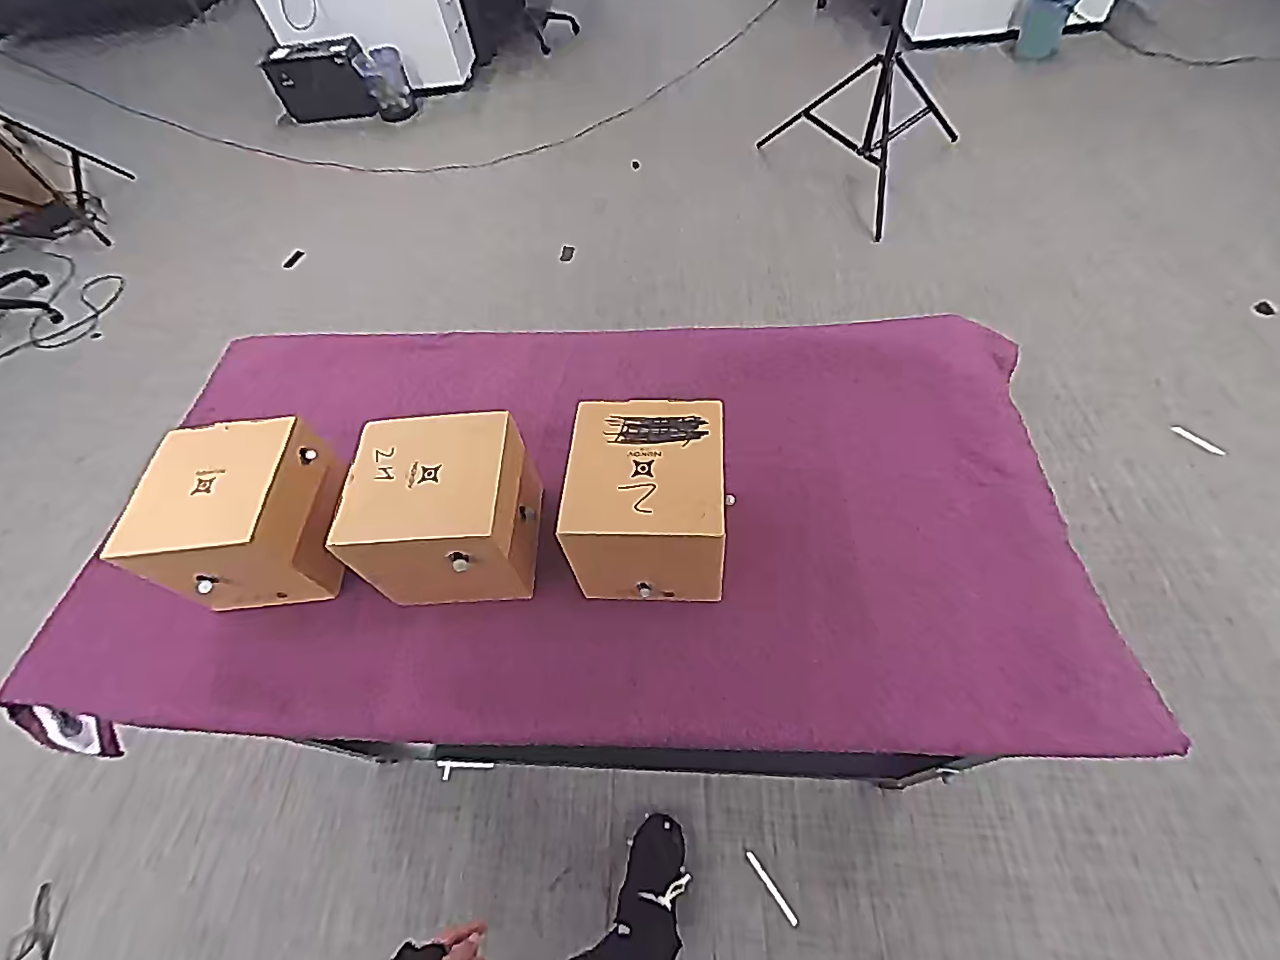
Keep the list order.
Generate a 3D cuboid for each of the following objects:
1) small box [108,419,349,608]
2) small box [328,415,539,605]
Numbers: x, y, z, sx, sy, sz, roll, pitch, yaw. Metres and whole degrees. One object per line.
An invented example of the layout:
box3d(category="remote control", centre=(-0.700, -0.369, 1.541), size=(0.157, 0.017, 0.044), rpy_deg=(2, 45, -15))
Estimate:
box3d(category="small box", centre=(-0.482, 0.051, 0.681), size=(0.168, 0.176, 0.179), rpy_deg=(-7, 55, 2))
box3d(category="small box", centre=(-0.227, 0.041, 0.654), size=(0.179, 0.176, 0.168), rpy_deg=(-4, 55, 3))
